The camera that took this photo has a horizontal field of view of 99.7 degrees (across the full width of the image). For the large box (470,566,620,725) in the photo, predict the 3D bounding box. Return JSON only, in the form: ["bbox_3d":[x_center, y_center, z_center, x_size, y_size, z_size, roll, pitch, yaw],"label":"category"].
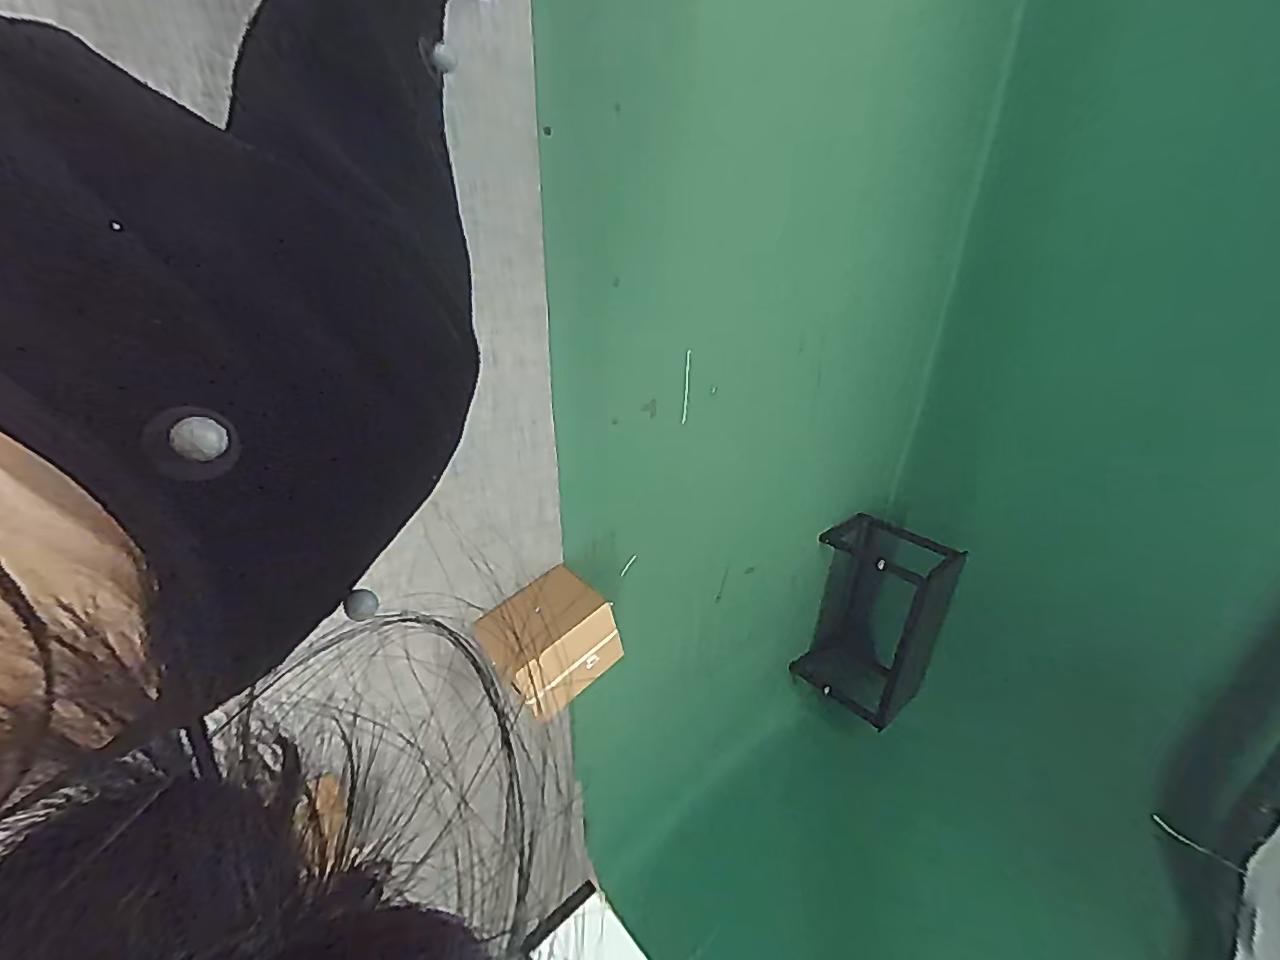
[{"bbox_3d":[-0.346,0.598,2.008,0.408,0.320,0.320,-34,132,-30],"label":"large box"}]
